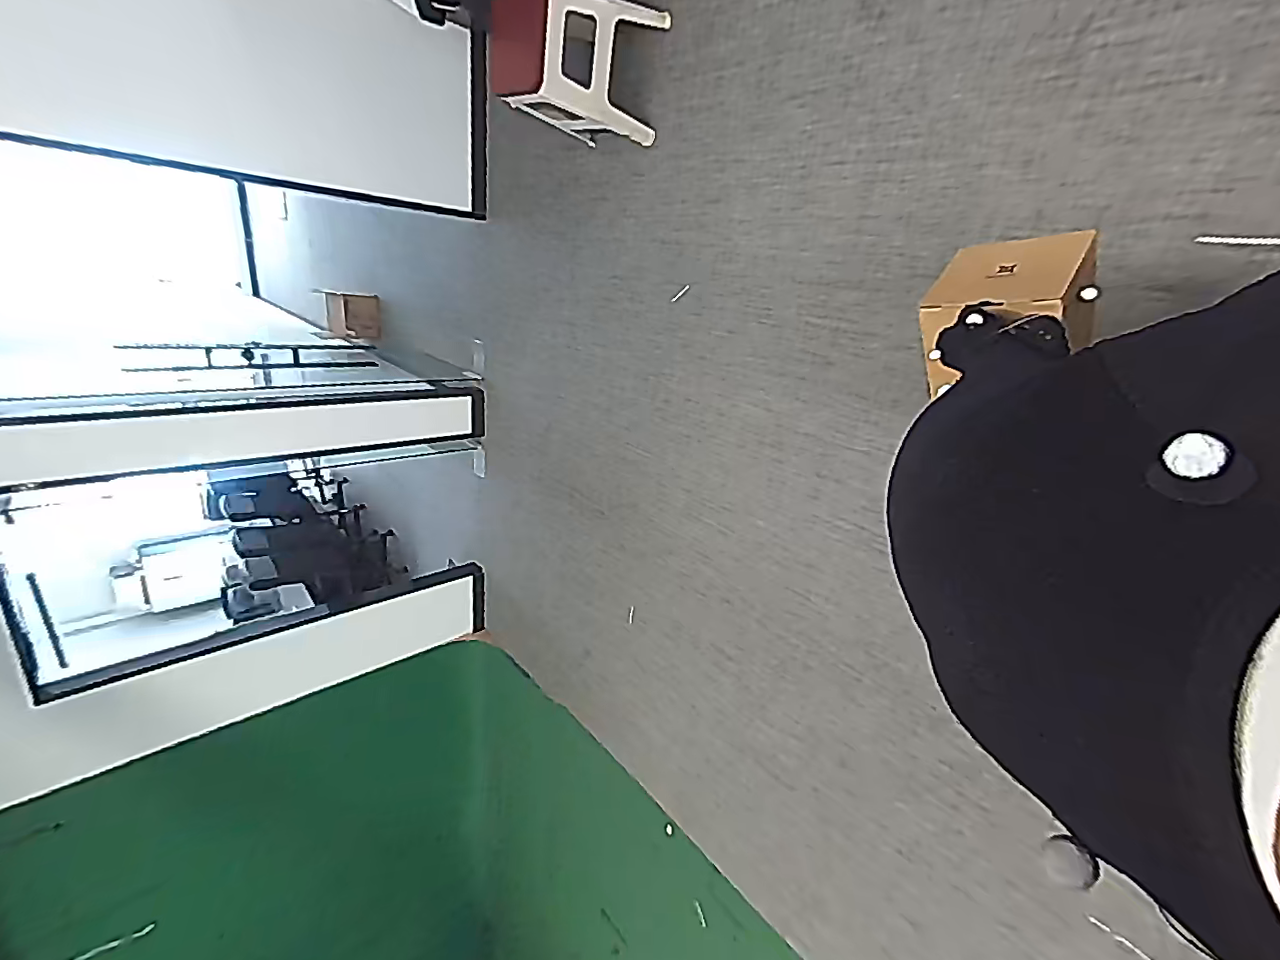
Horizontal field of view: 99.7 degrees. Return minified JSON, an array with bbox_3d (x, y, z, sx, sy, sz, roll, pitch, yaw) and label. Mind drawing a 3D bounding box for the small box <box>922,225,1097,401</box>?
[{"bbox_3d":[0.535,-0.237,0.785,0.168,0.179,0.176,13,143,46],"label":"small box"}]
